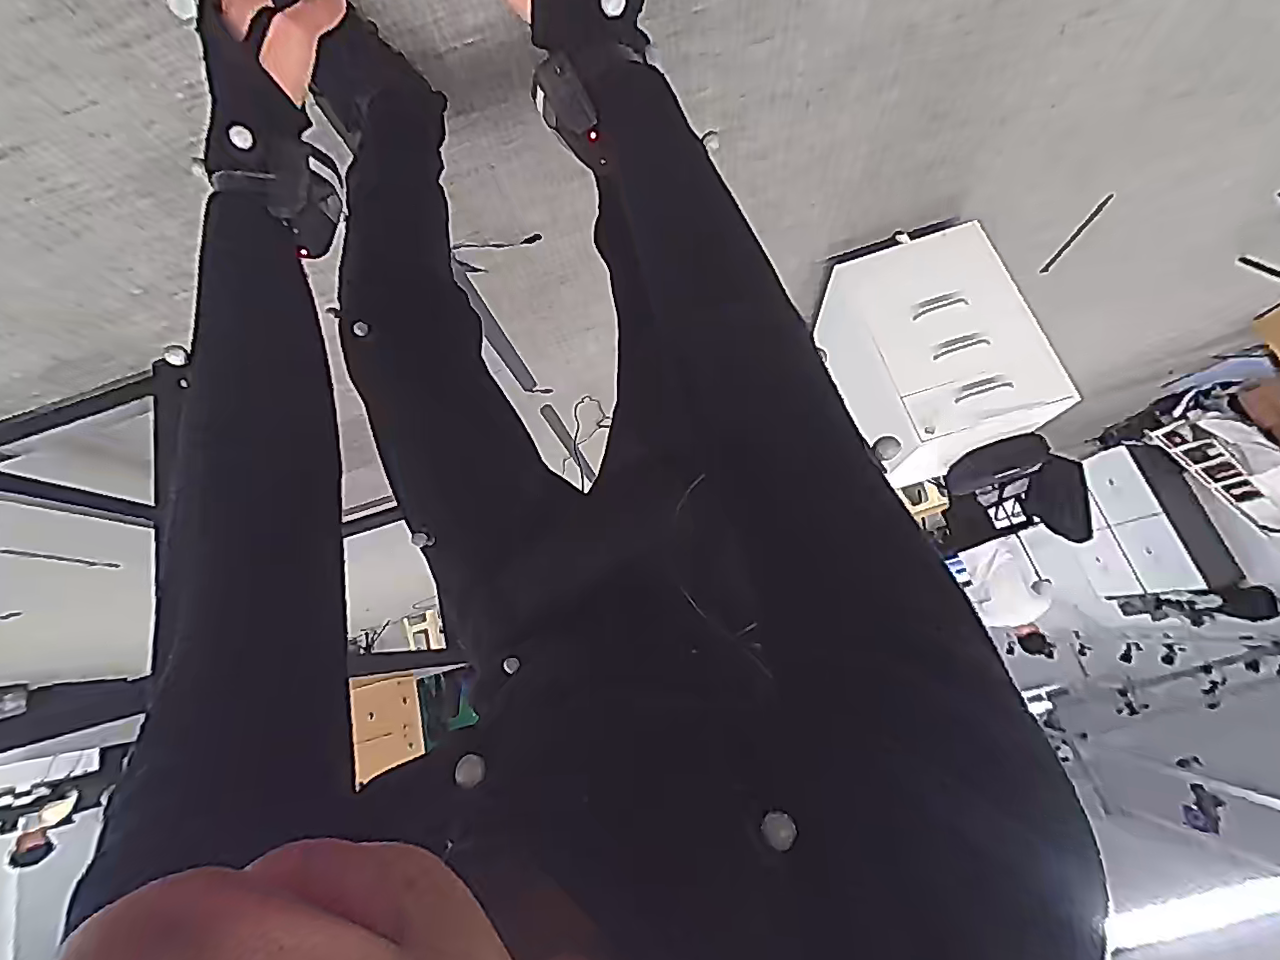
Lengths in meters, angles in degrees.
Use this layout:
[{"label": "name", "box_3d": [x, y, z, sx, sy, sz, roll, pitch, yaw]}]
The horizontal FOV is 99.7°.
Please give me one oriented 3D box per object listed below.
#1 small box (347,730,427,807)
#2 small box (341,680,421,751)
[{"label": "small box", "box_3d": [-0.816, 0.920, 1.738, 0.179, 0.176, 0.168, -17, 163, 4]}, {"label": "small box", "box_3d": [-0.857, 0.768, 1.788, 0.179, 0.176, 0.168, -18, 162, 4]}]
